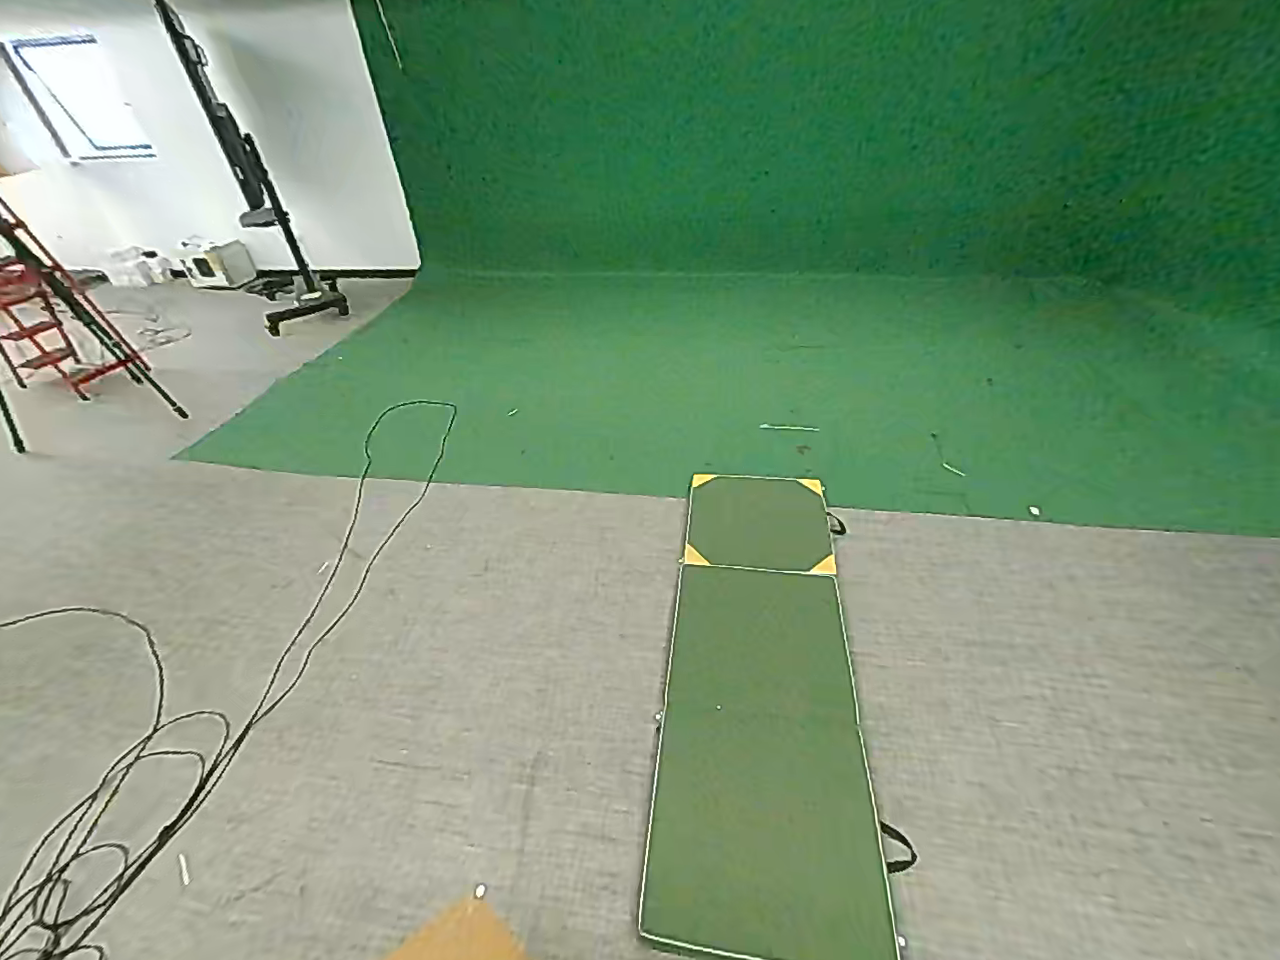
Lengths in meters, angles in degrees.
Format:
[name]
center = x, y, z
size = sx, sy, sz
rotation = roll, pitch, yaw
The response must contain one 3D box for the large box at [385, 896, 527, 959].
[large box]
center = -0.305, 0.837, 0.640
size = 0.320, 0.408, 0.320
rotation = 32, 91, 24
